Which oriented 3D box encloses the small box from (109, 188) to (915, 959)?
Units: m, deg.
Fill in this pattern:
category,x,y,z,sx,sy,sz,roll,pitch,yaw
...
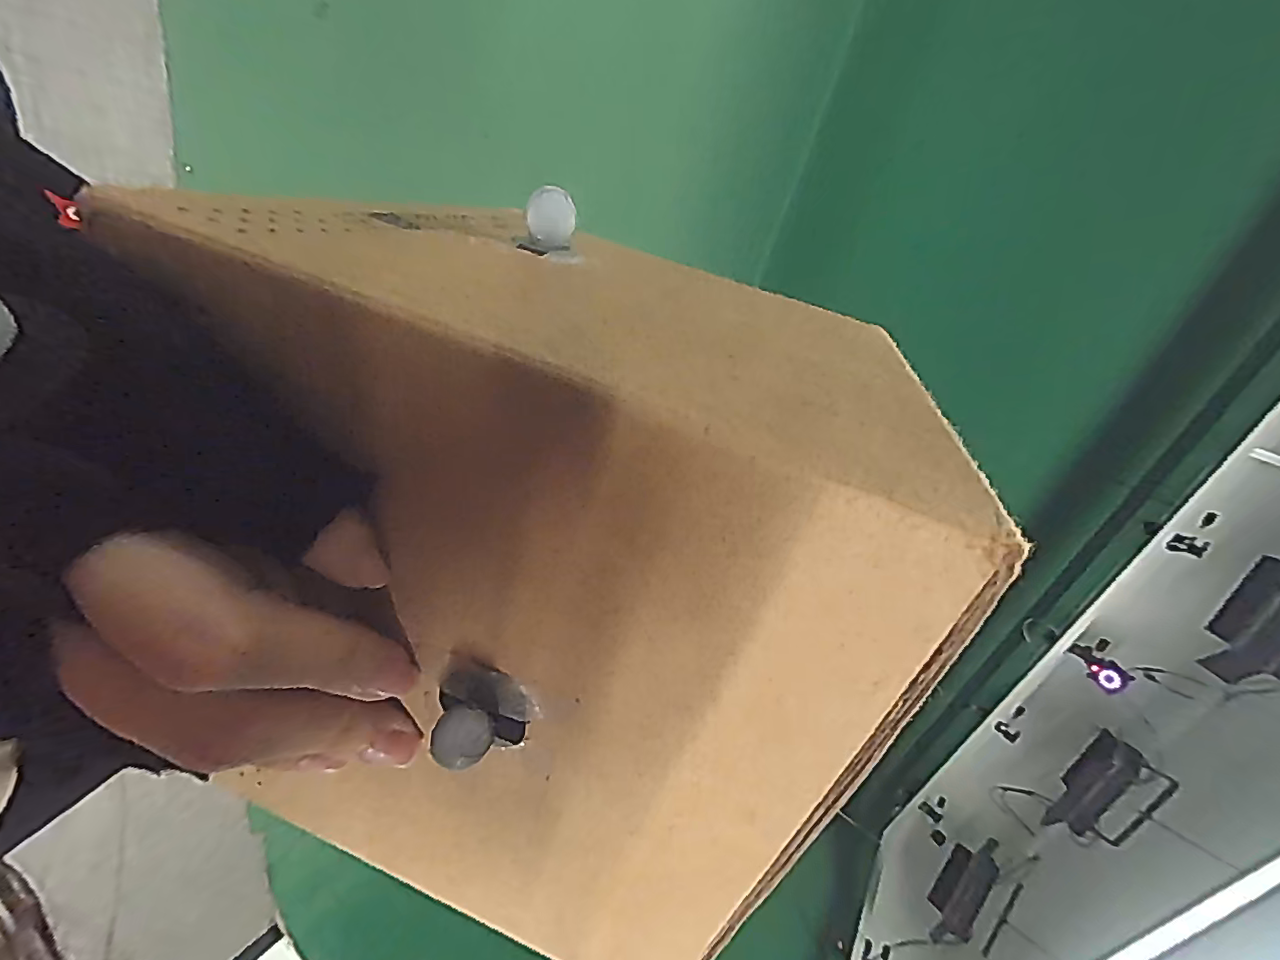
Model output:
category,x,y,z,sx,sy,sz,roll,pitch,yaw
small box,-0.034,0.015,0.204,0.168,0.176,0.179,-58,167,-61
